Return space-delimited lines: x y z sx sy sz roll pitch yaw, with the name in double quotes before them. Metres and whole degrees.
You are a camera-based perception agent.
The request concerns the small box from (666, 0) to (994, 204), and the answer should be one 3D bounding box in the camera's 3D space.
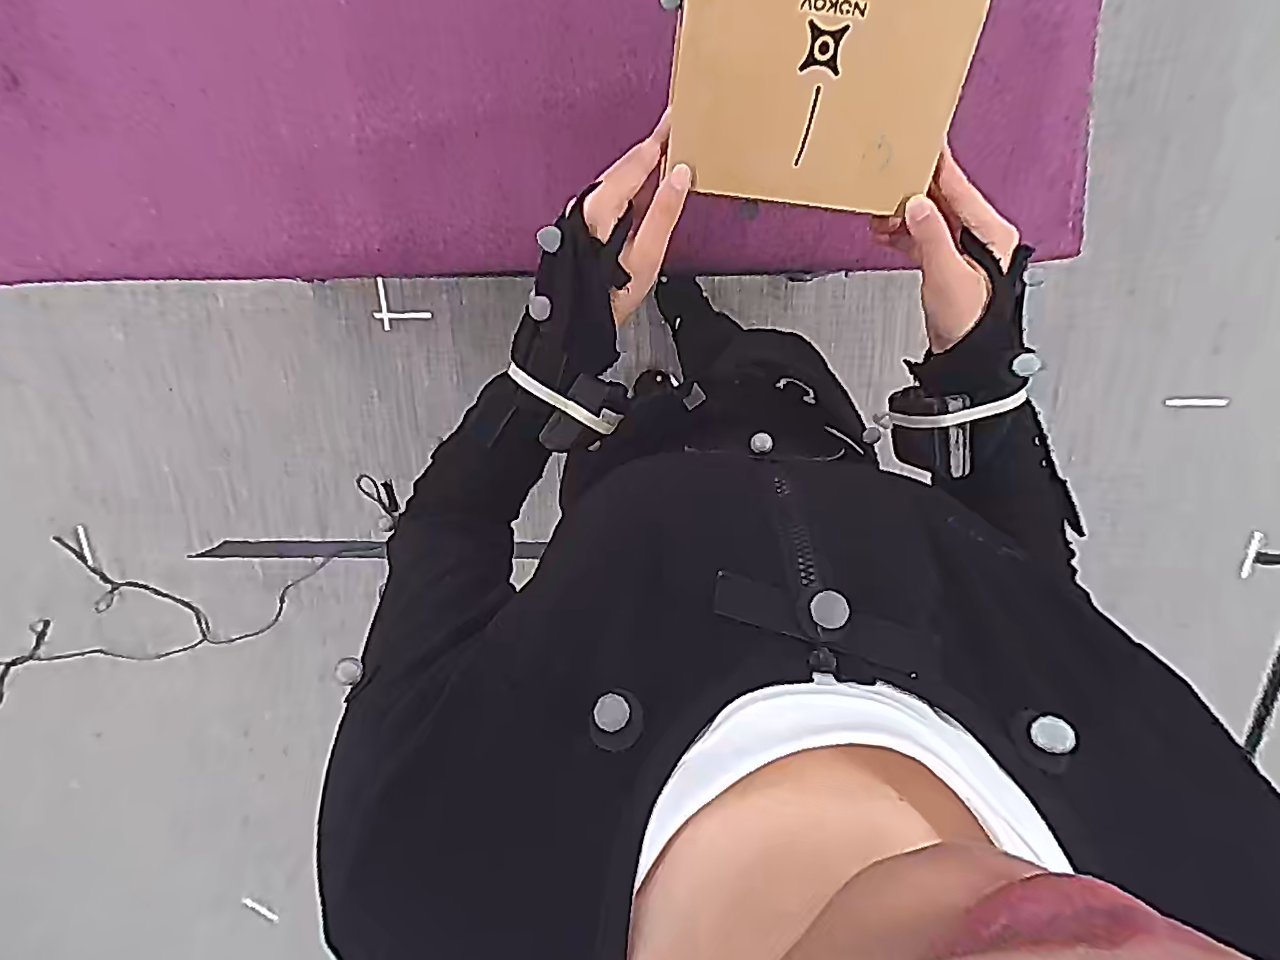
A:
"small box" 0.110 -0.295 0.364 0.168 0.176 0.179 6 119 -2
